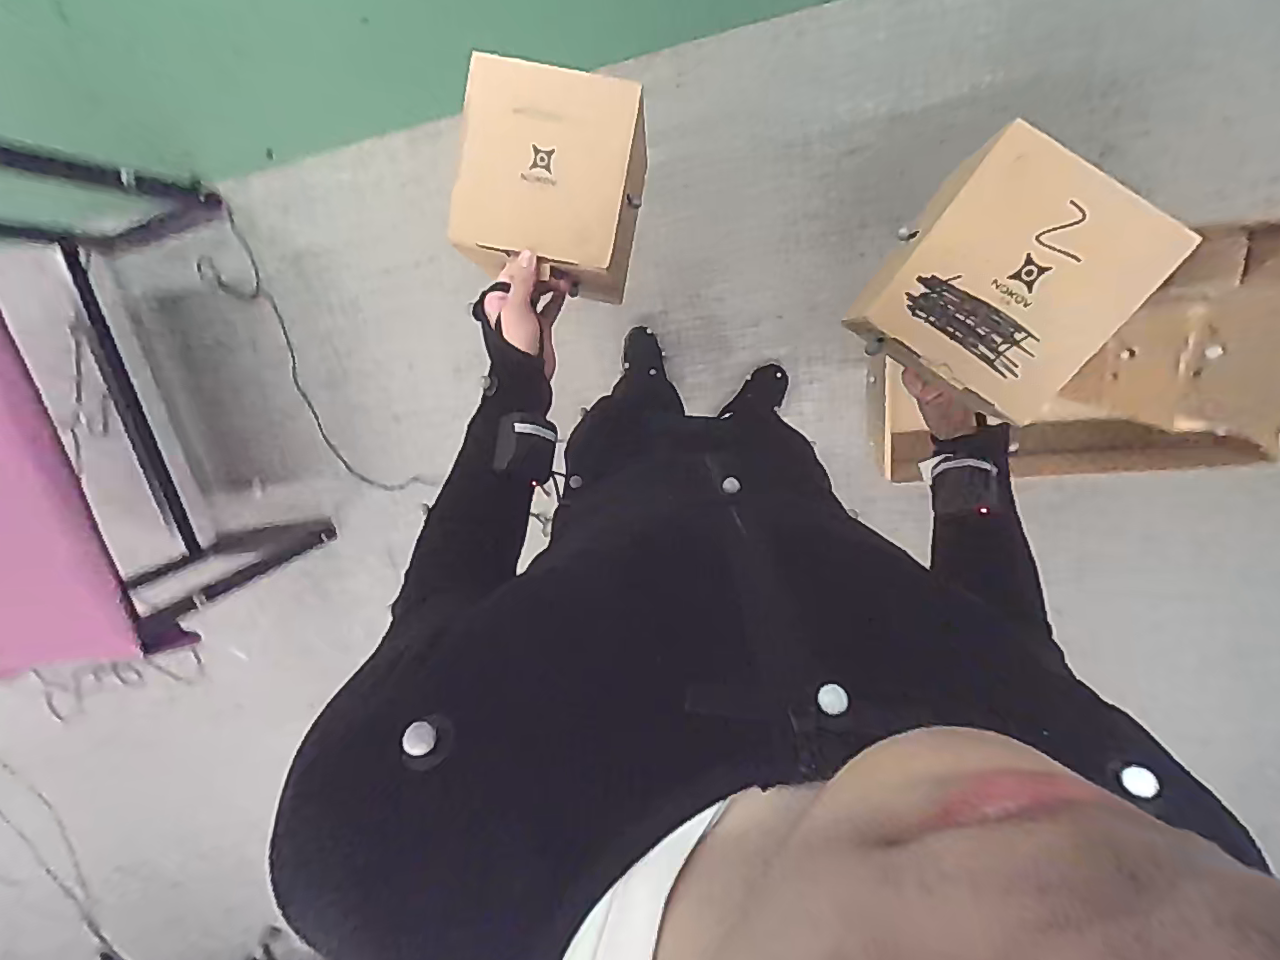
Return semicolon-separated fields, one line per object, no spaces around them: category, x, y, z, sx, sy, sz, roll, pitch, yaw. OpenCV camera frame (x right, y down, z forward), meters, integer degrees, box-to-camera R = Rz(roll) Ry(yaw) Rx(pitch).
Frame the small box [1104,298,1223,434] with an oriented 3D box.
small box;0.812;-0.167;0.762;0.179;0.176;0.168;-4;105;15

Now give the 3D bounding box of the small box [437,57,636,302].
small box;-0.100;-0.308;0.596;0.168;0.176;0.179;11;96;1

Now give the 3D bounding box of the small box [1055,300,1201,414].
small box;0.849;-0.210;0.913;0.179;0.176;0.168;-3;104;14

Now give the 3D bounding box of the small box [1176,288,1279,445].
small box;0.780;-0.127;0.605;0.179;0.176;0.168;6;107;13
